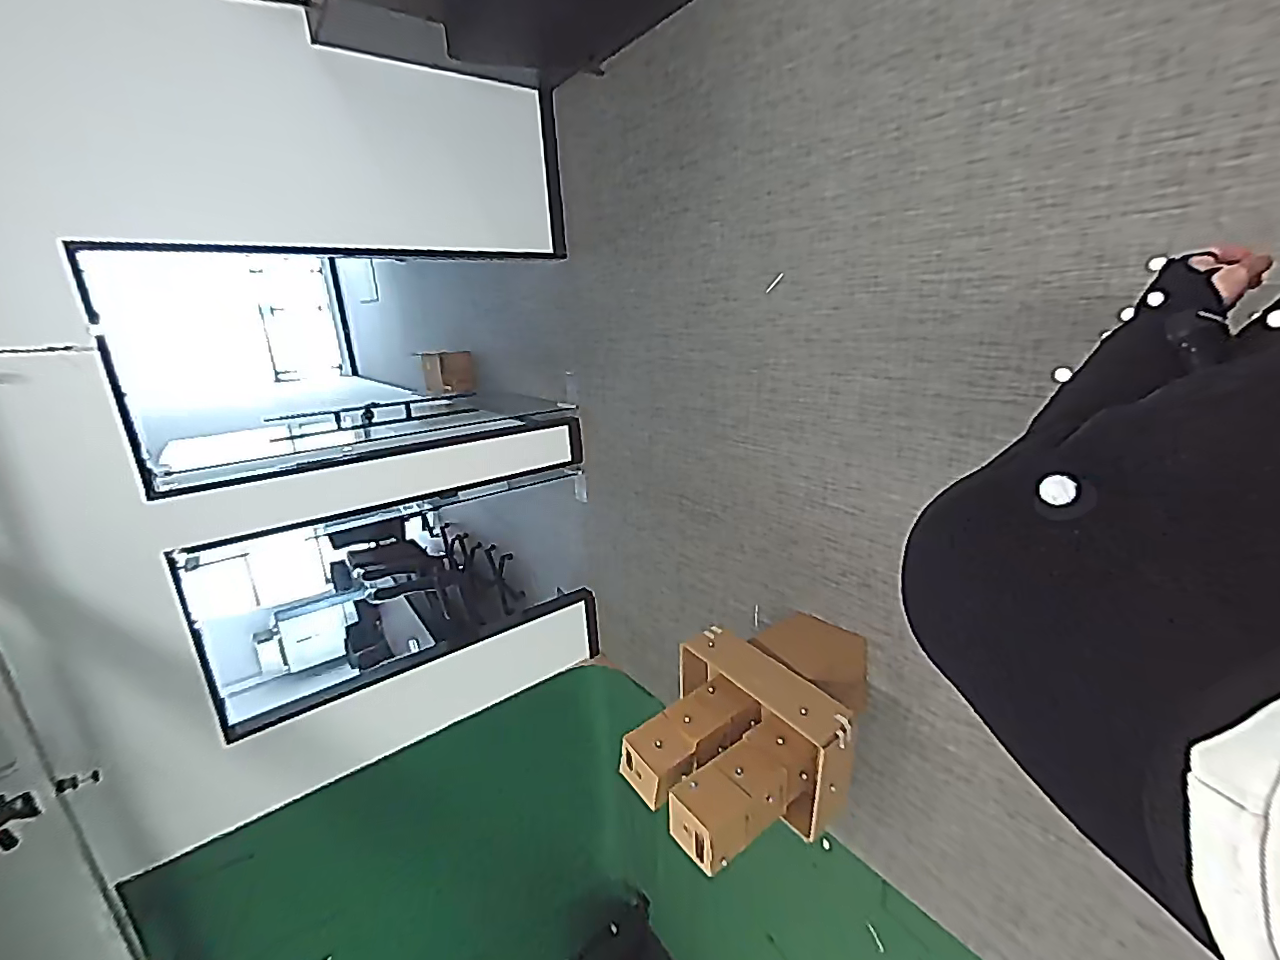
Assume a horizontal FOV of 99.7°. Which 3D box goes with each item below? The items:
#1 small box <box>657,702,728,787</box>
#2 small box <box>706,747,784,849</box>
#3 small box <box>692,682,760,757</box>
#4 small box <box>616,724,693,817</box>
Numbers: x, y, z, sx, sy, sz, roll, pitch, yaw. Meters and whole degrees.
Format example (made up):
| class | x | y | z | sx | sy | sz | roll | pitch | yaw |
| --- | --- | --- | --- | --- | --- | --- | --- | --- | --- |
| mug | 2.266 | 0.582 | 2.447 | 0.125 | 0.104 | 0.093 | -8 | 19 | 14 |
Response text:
| class | x | y | z | sx | sy | sz | roll | pitch | yaw |
| --- | --- | --- | --- | --- | --- | --- | --- | --- | --- |
| small box | 0.175 | 0.881 | 1.826 | 0.179 | 0.176 | 0.168 | 19 | 116 | 47 |
| small box | 0.320 | 0.956 | 1.647 | 0.179 | 0.176 | 0.168 | 20 | 116 | 51 |
| small box | 0.300 | 0.847 | 1.922 | 0.179 | 0.176 | 0.168 | 21 | 119 | 48 |
| small box | 0.045 | 0.917 | 1.733 | 0.179 | 0.176 | 0.168 | 31 | 125 | 42 |
